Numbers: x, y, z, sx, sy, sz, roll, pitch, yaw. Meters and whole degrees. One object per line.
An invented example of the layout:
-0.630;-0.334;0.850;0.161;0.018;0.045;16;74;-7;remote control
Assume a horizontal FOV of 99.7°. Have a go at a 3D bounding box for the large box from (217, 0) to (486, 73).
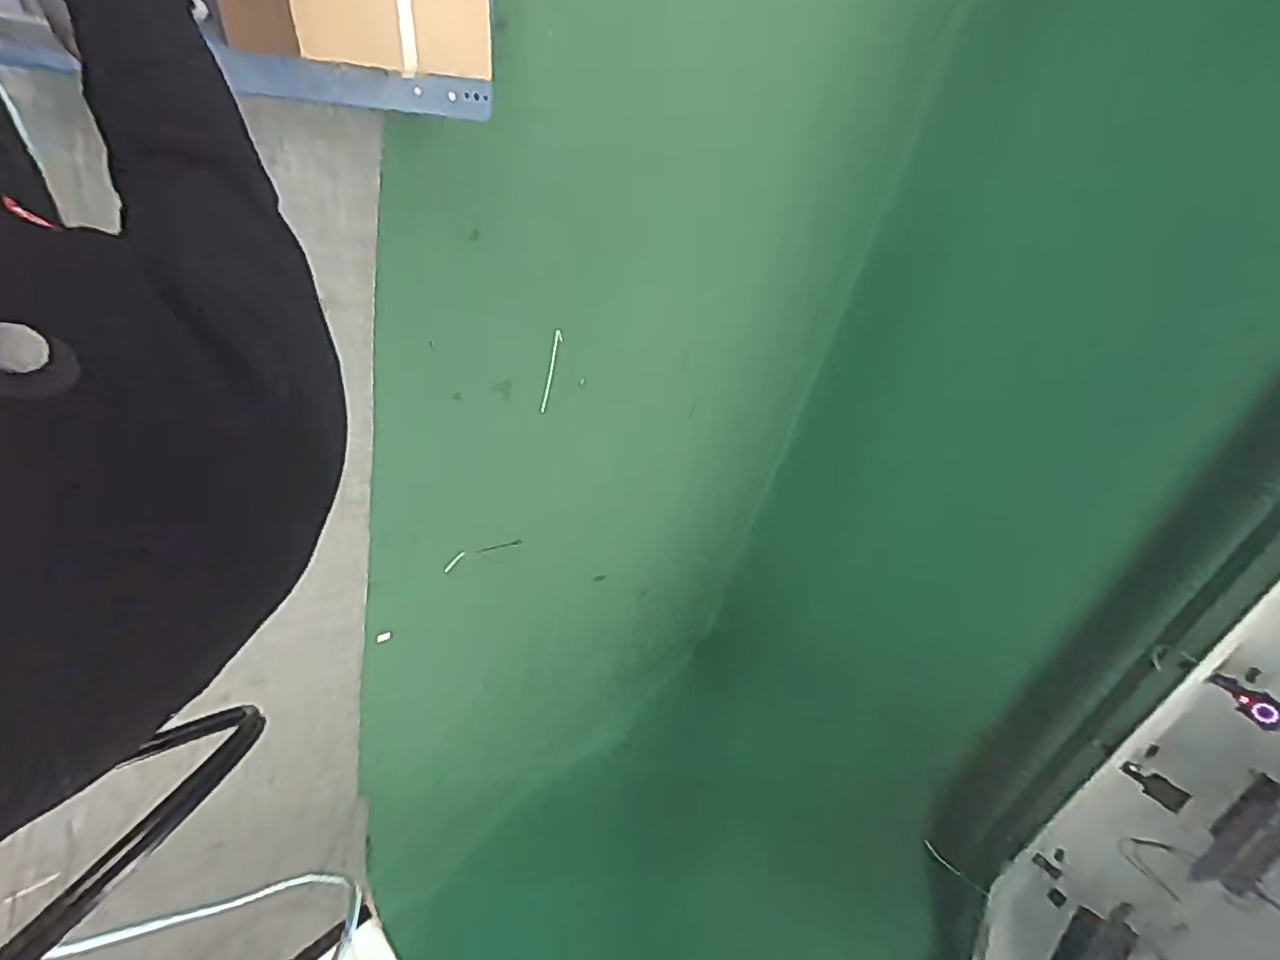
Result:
-0.464;-0.876;0.811;0.320;0.320;0.408;-29;137;-40;large box
